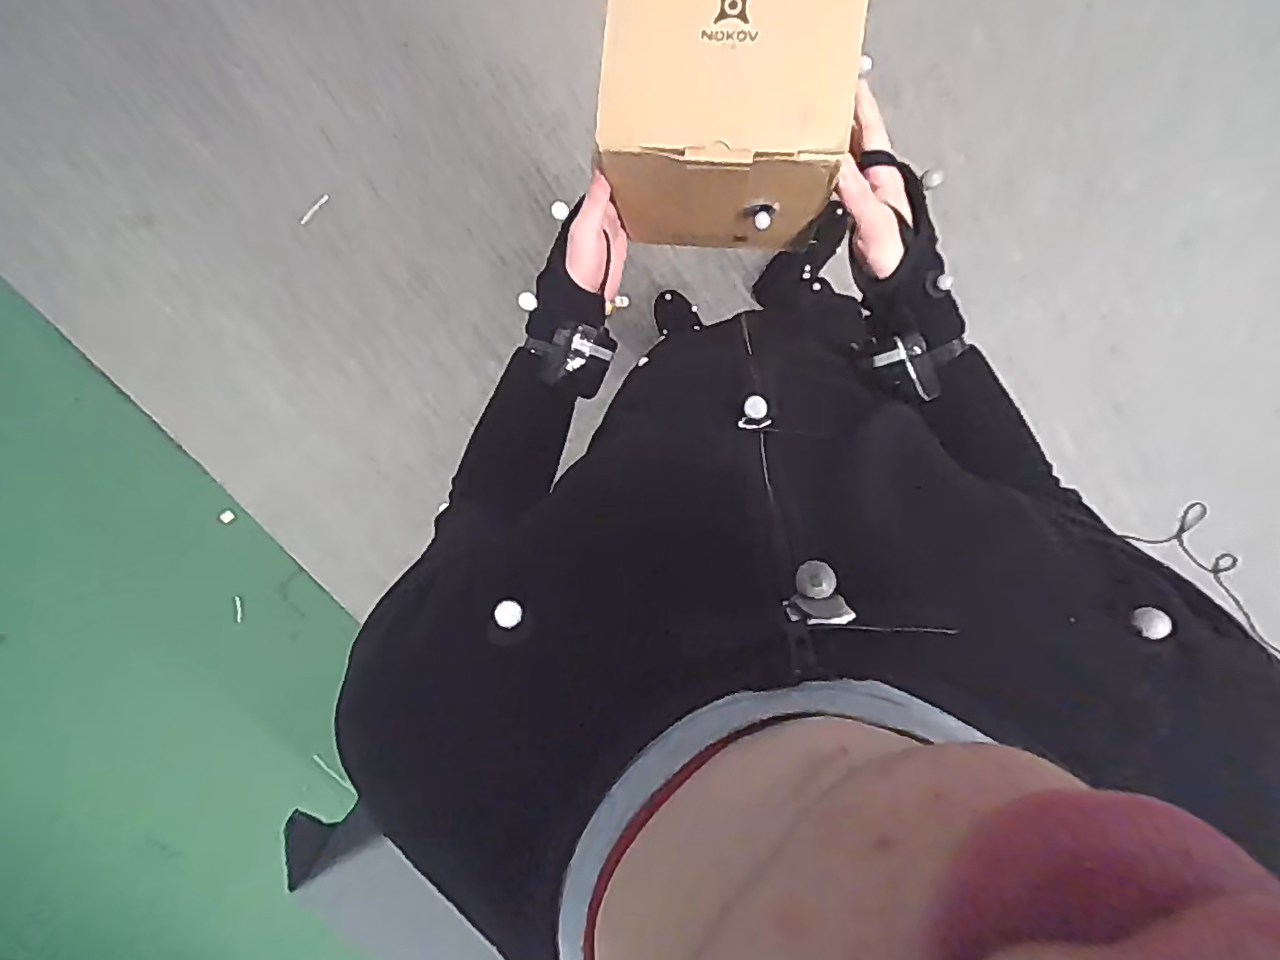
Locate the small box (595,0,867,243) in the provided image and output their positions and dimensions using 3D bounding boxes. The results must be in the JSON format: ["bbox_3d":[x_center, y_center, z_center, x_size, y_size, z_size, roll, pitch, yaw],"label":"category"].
[{"bbox_3d":[0.068,-0.302,0.419,0.168,0.176,0.179,6,93,6],"label":"small box"}]
